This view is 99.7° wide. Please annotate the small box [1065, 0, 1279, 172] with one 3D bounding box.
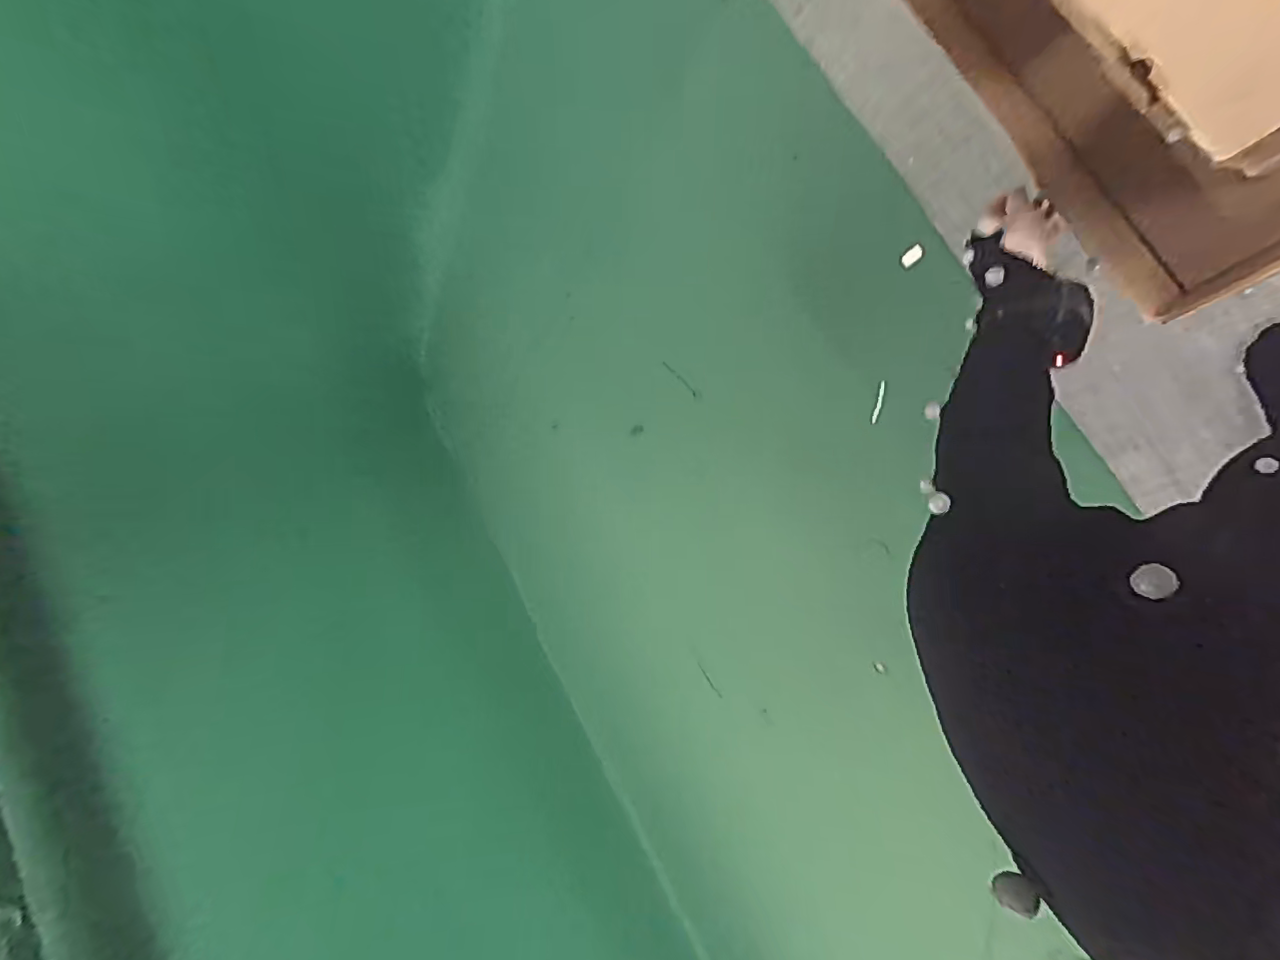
[{"bbox_3d":[0.430,-0.325,0.338,0.168,0.176,0.179,61,145,10],"label":"small box"}]
